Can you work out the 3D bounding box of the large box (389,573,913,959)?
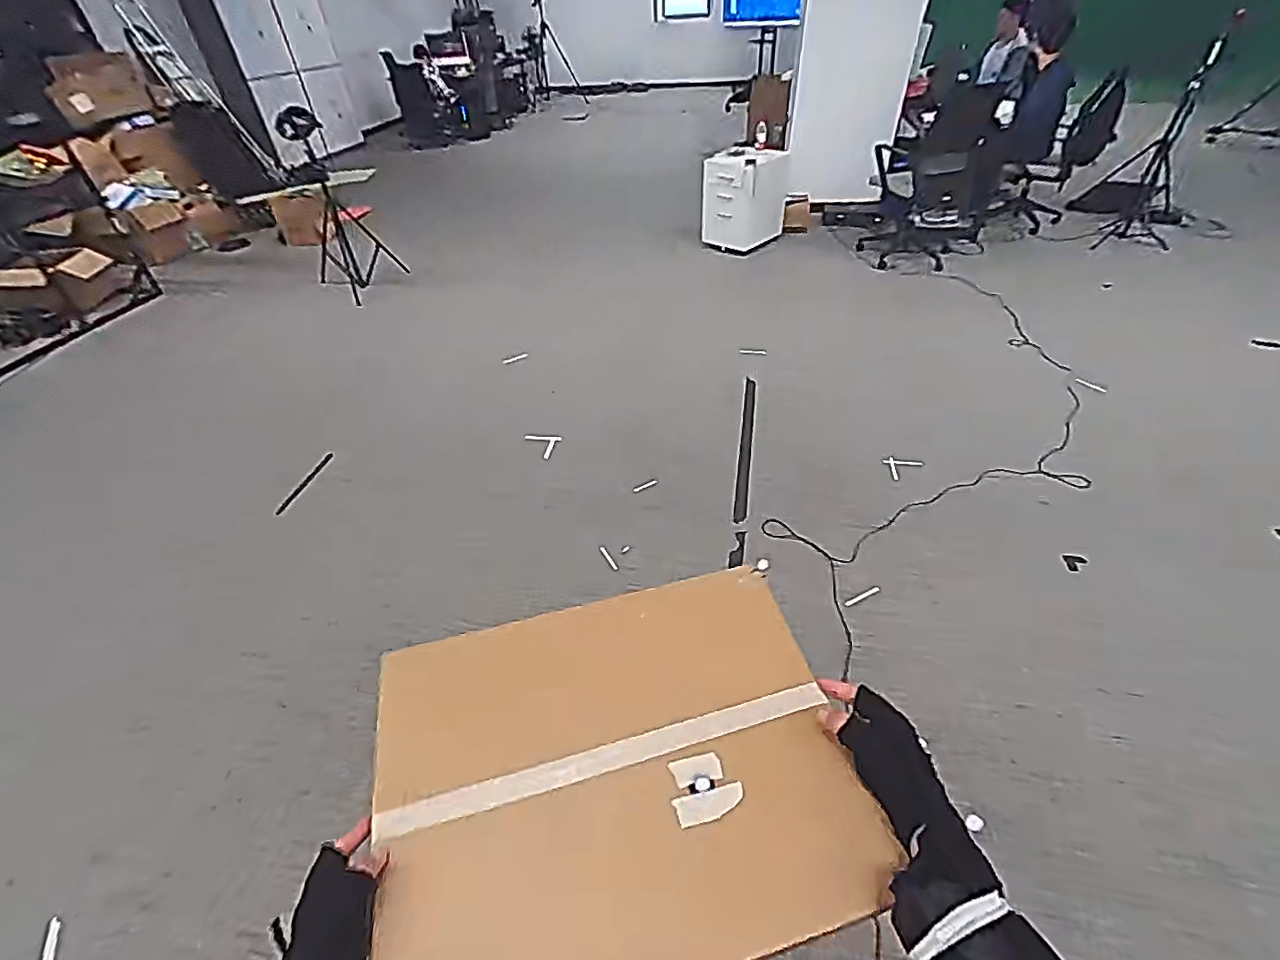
[{"bbox_3d":[-0.014,0.353,0.591,0.408,0.320,0.320,-11,48,-9],"label":"large box"}]
